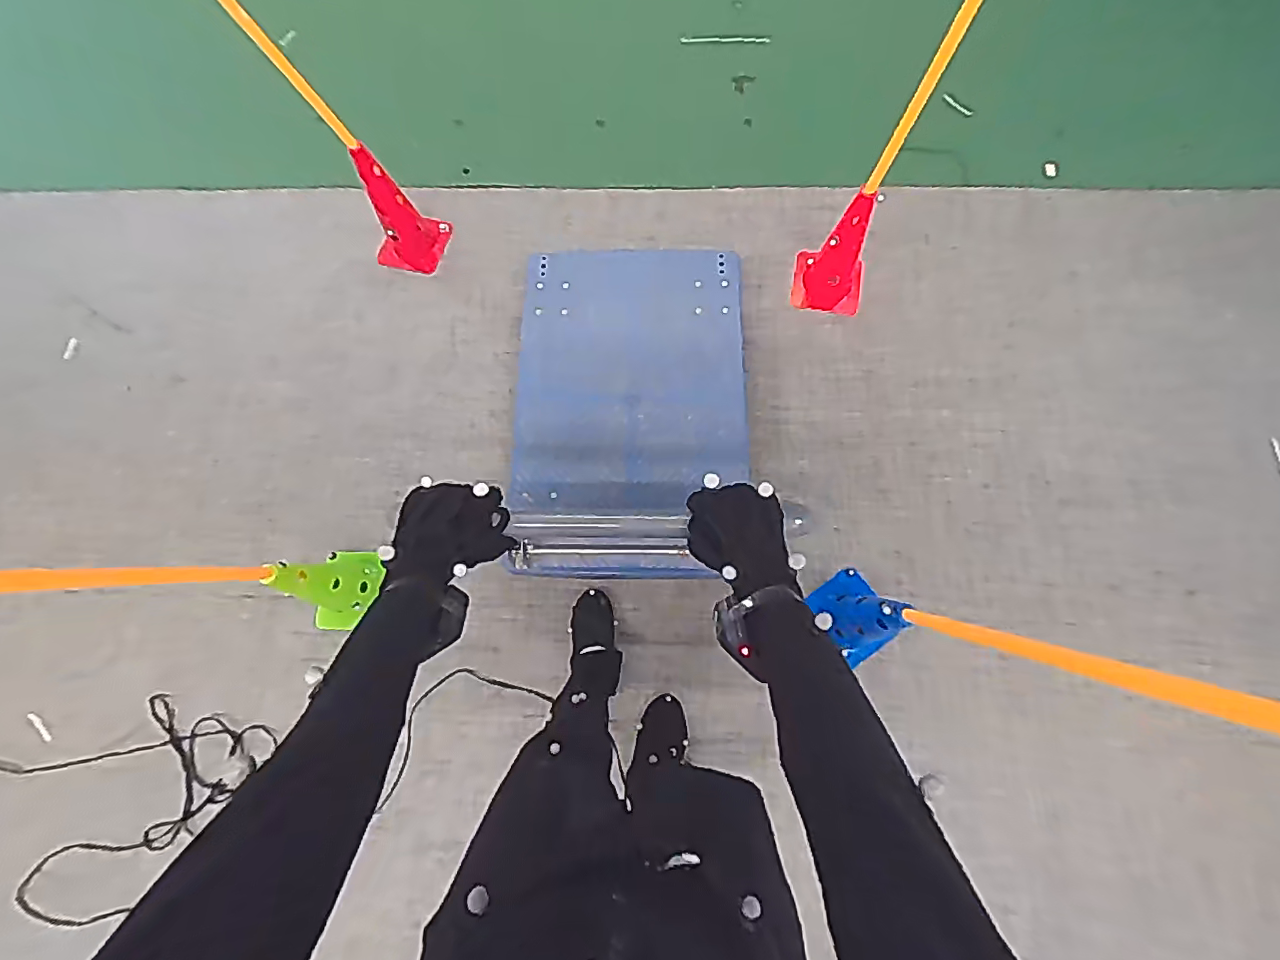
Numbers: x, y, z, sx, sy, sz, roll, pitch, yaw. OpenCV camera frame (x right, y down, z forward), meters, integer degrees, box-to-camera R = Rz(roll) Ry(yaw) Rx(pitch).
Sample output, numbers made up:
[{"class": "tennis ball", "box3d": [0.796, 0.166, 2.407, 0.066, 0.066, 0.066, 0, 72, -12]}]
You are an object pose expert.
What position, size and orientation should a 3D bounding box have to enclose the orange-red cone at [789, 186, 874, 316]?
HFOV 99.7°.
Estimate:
[{"class": "orange-red cone", "box3d": [0.551, -0.638, 1.460, 0.198, 0.360, 0.199, 12, 75, 6]}]
